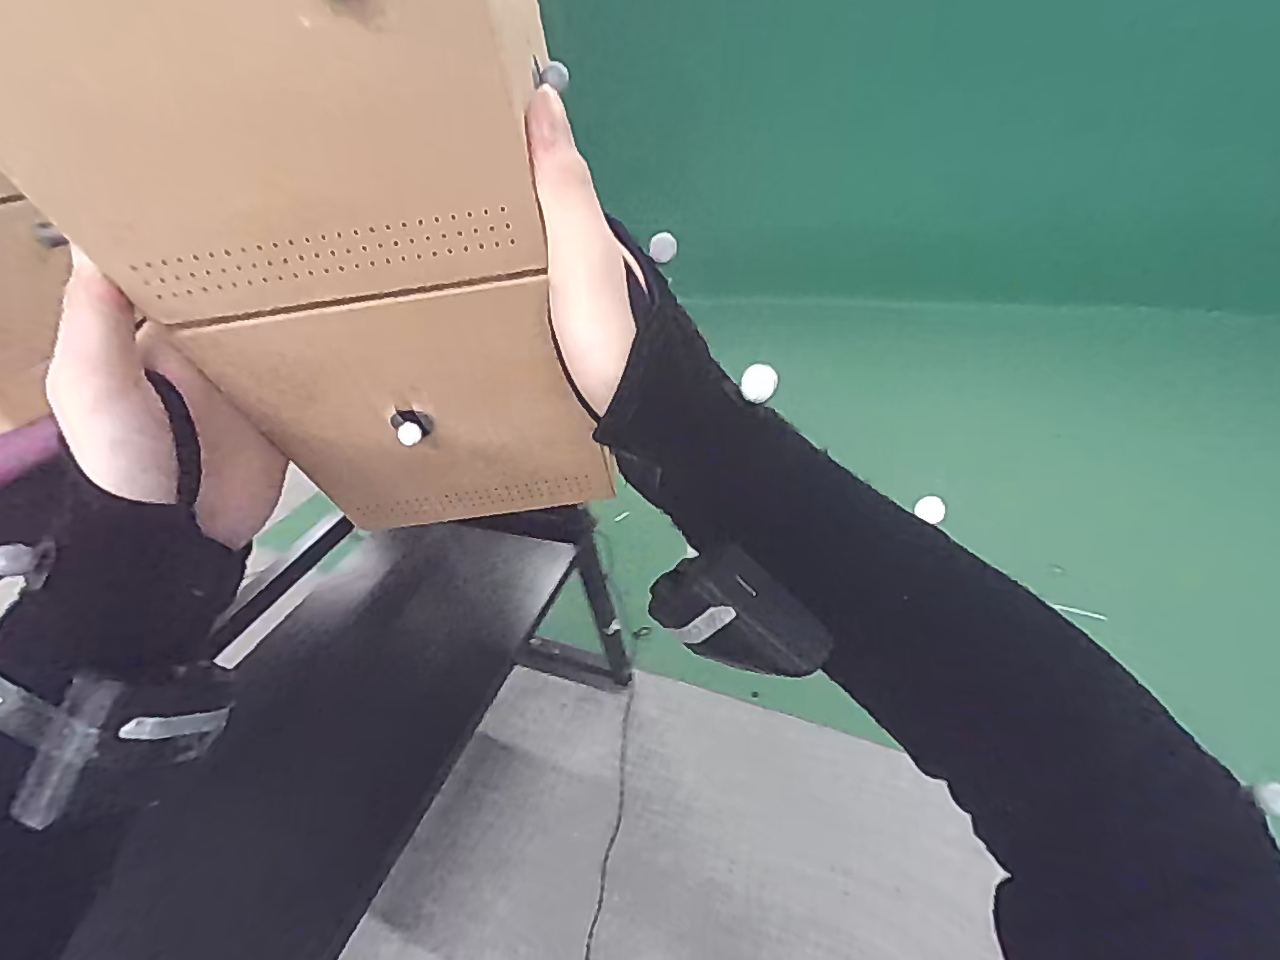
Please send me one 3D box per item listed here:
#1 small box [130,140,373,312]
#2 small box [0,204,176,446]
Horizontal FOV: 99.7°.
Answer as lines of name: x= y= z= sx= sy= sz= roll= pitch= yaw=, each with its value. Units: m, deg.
small box: x=-0.510 y=-0.340 z=0.736 sx=0.168 sy=0.176 sz=0.179 roll=10 pitch=43 yaw=25
small box: x=-0.627 y=-0.149 z=0.526 sx=0.168 sy=0.176 sz=0.179 roll=6 pitch=41 yaw=22
